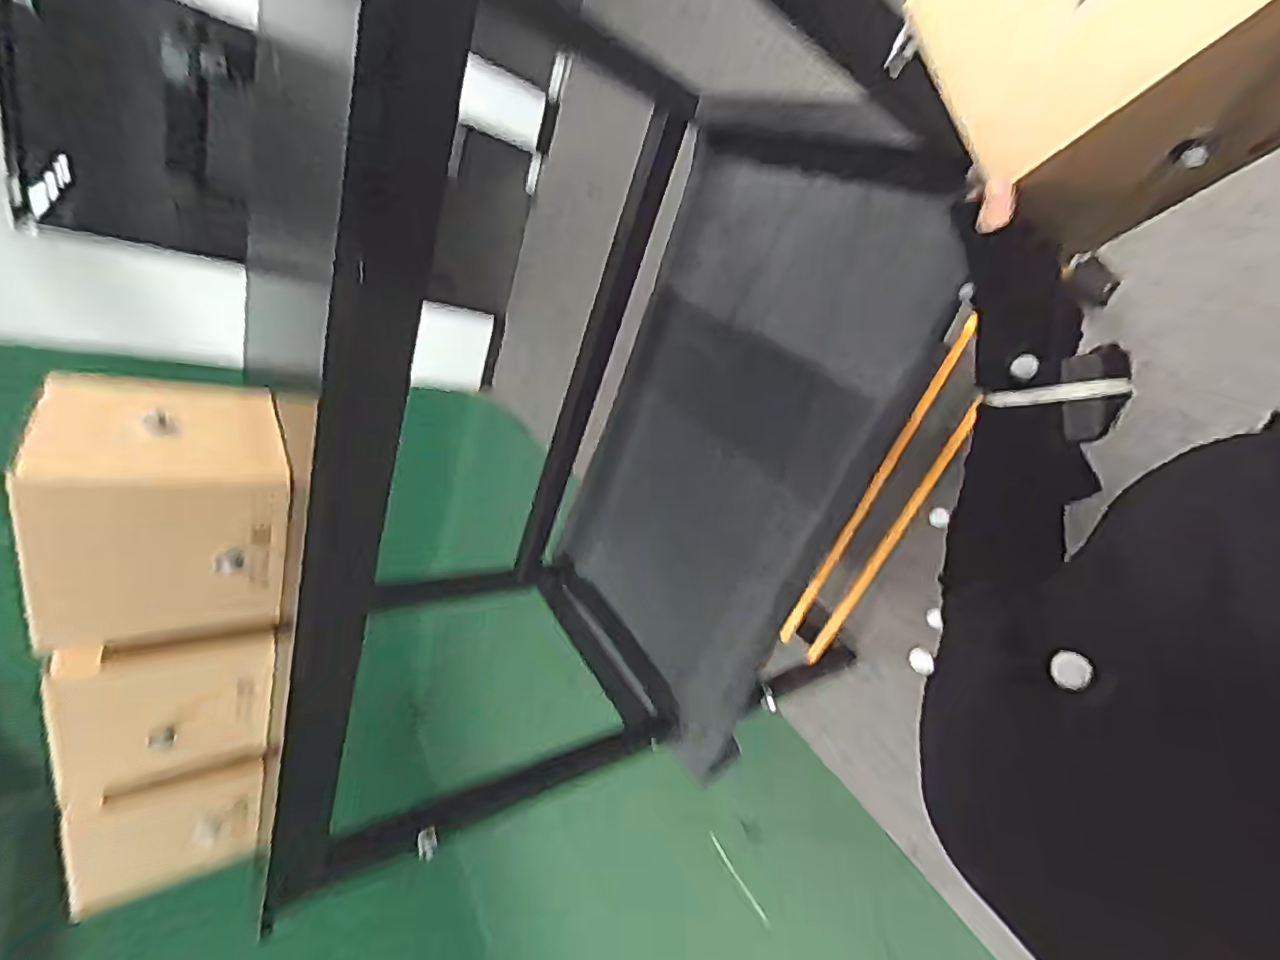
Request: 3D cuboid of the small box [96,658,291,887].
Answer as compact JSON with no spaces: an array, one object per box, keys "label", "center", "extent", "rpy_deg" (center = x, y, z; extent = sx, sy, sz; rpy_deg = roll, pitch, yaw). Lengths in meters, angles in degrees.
[{"label":"small box","center":[-0.557,0.348,0.683],"extent":[0.179,0.176,0.168],"rpy_deg":[43,122,40]}]
